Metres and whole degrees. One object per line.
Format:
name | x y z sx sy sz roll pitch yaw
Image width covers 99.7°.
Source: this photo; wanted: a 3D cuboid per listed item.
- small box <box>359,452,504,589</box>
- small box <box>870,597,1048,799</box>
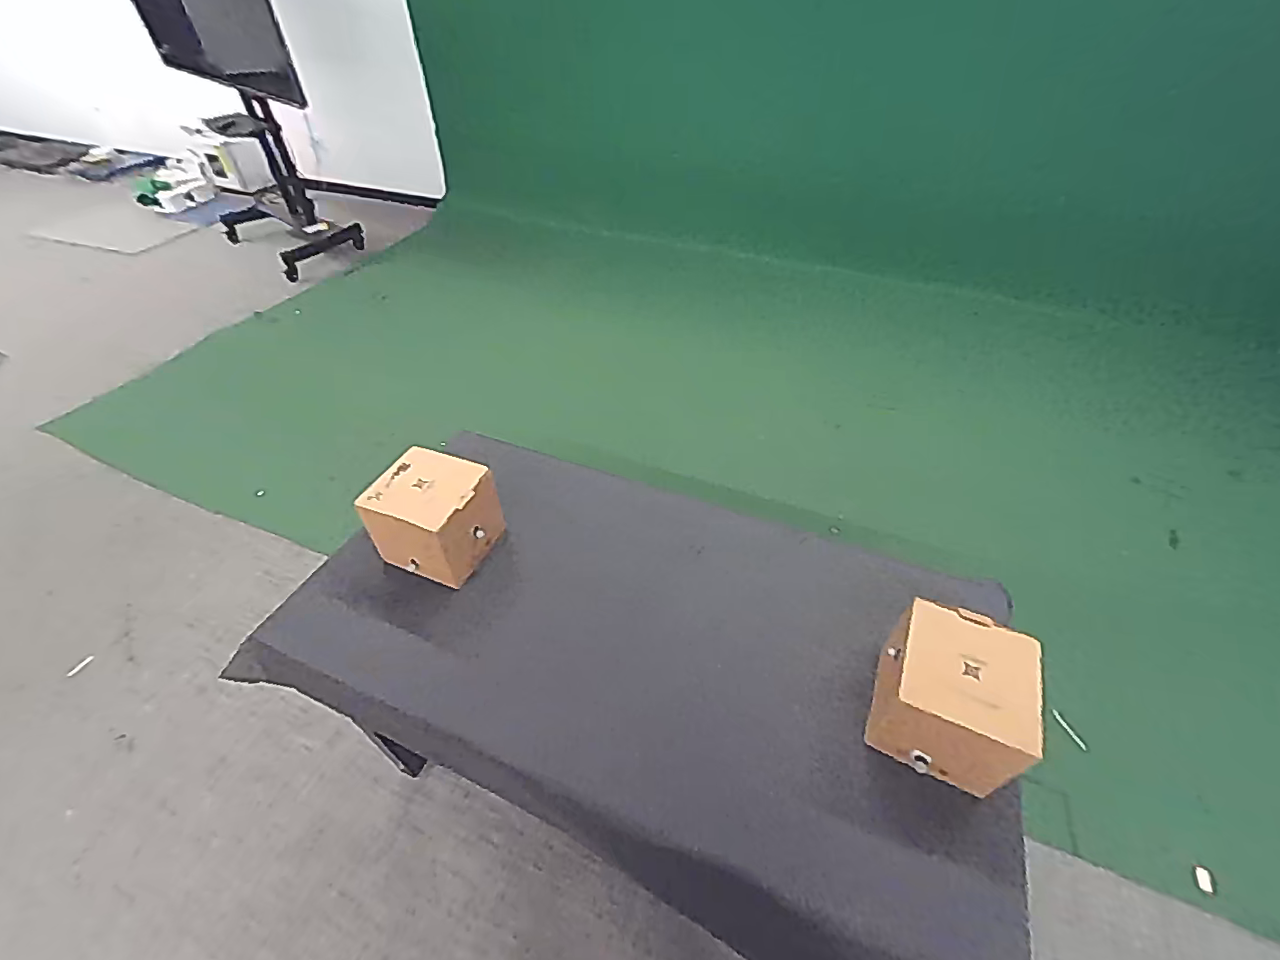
small box | -0.377 0.079 1.019 0.179 0.176 0.168 17 47 15
small box | 0.444 0.307 0.768 0.168 0.176 0.179 20 48 22
